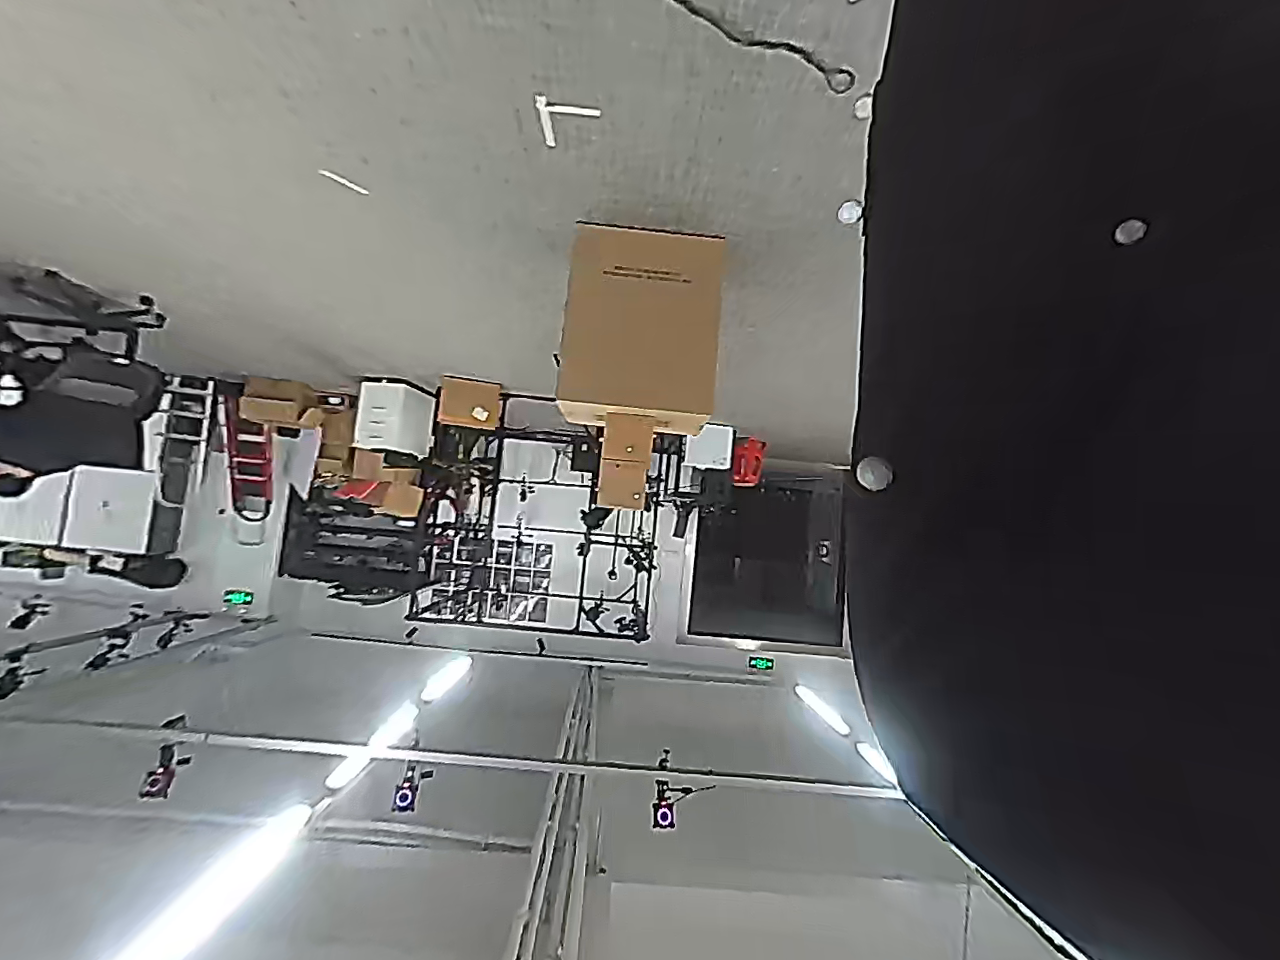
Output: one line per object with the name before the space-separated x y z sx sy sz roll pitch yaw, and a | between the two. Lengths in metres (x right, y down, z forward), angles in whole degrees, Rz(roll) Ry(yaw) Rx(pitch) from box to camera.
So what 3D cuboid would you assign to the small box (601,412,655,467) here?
small box | -0.044 -0.146 1.955 0.179 0.176 0.168 5 176 -1
